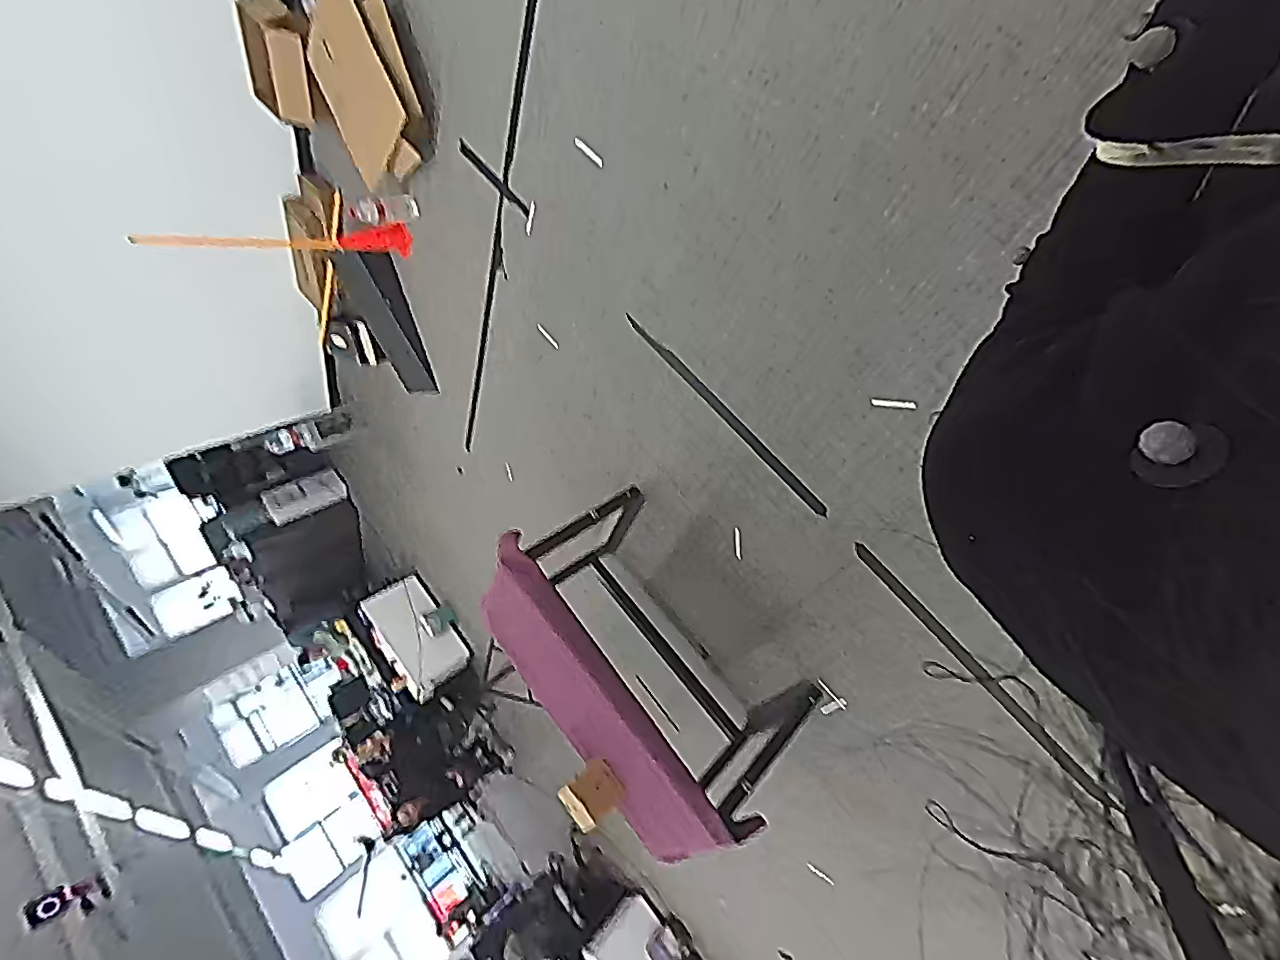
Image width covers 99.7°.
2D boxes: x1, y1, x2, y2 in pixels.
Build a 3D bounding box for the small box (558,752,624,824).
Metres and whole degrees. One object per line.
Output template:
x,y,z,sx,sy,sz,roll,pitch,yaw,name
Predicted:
-0.189,1.196,2.107,0.168,0.176,0.179,48,138,16,small box
